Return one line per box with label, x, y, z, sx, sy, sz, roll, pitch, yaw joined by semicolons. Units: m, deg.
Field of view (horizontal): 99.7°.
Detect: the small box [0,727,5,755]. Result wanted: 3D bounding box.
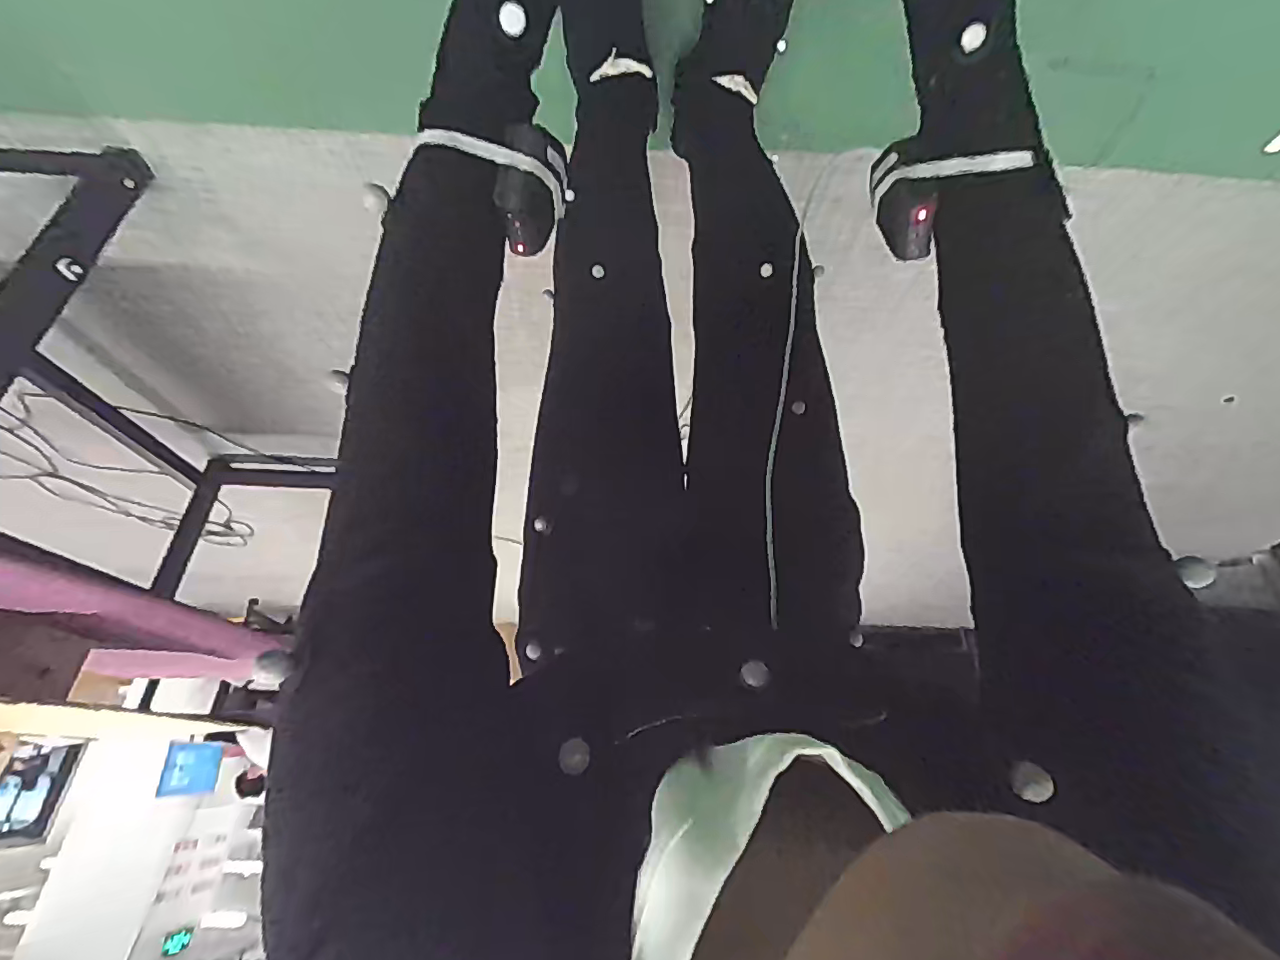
small box;-1.276;0.504;0.926;0.179;0.176;0.168;6;152;-2
